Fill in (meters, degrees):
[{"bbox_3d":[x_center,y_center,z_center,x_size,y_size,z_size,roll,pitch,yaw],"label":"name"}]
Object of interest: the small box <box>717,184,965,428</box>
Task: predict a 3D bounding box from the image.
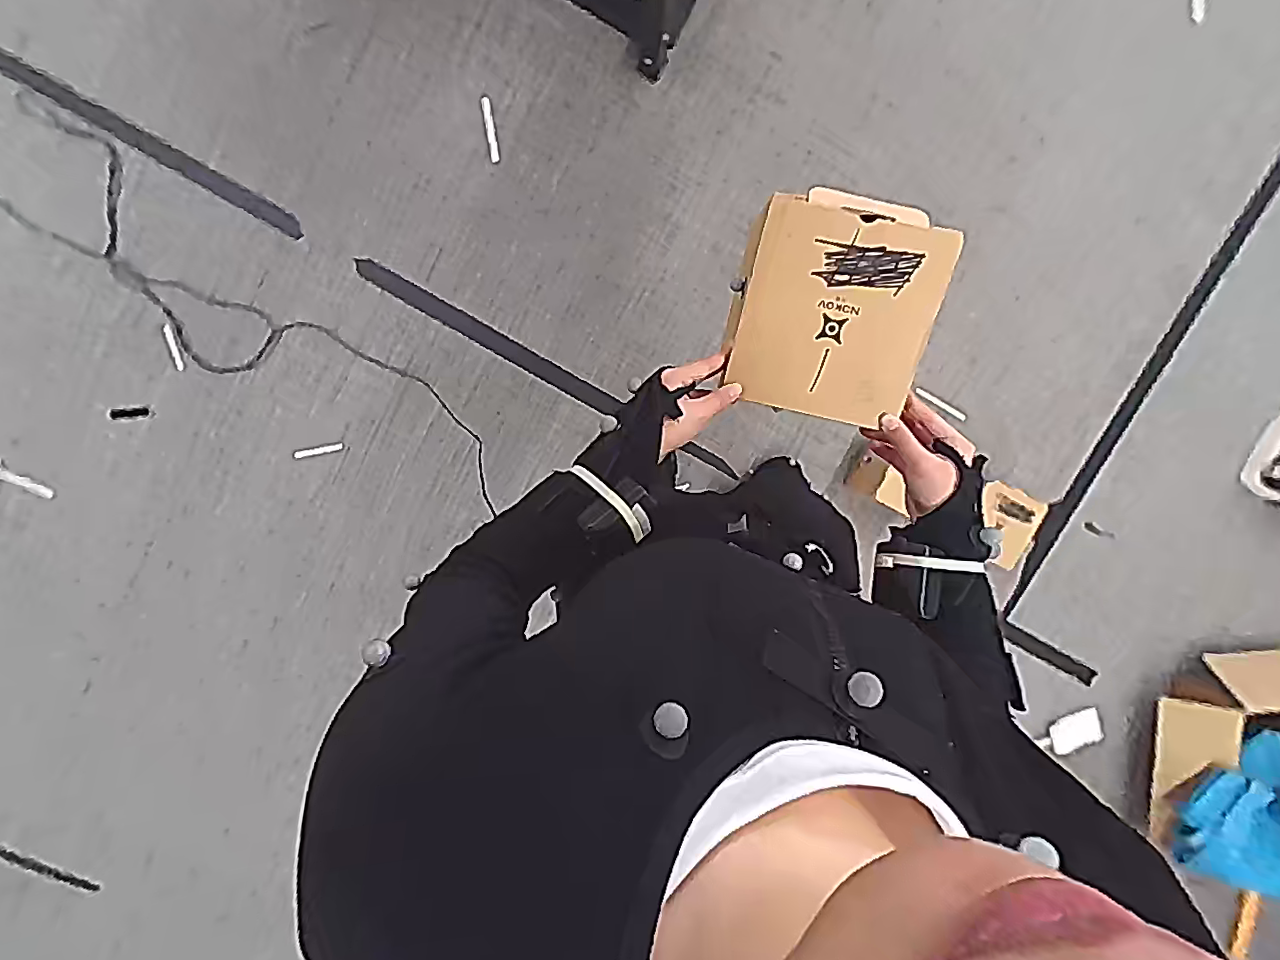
[{"bbox_3d":[0.176,-0.168,0.541,0.168,0.176,0.179,12,108,2],"label":"small box"}]
